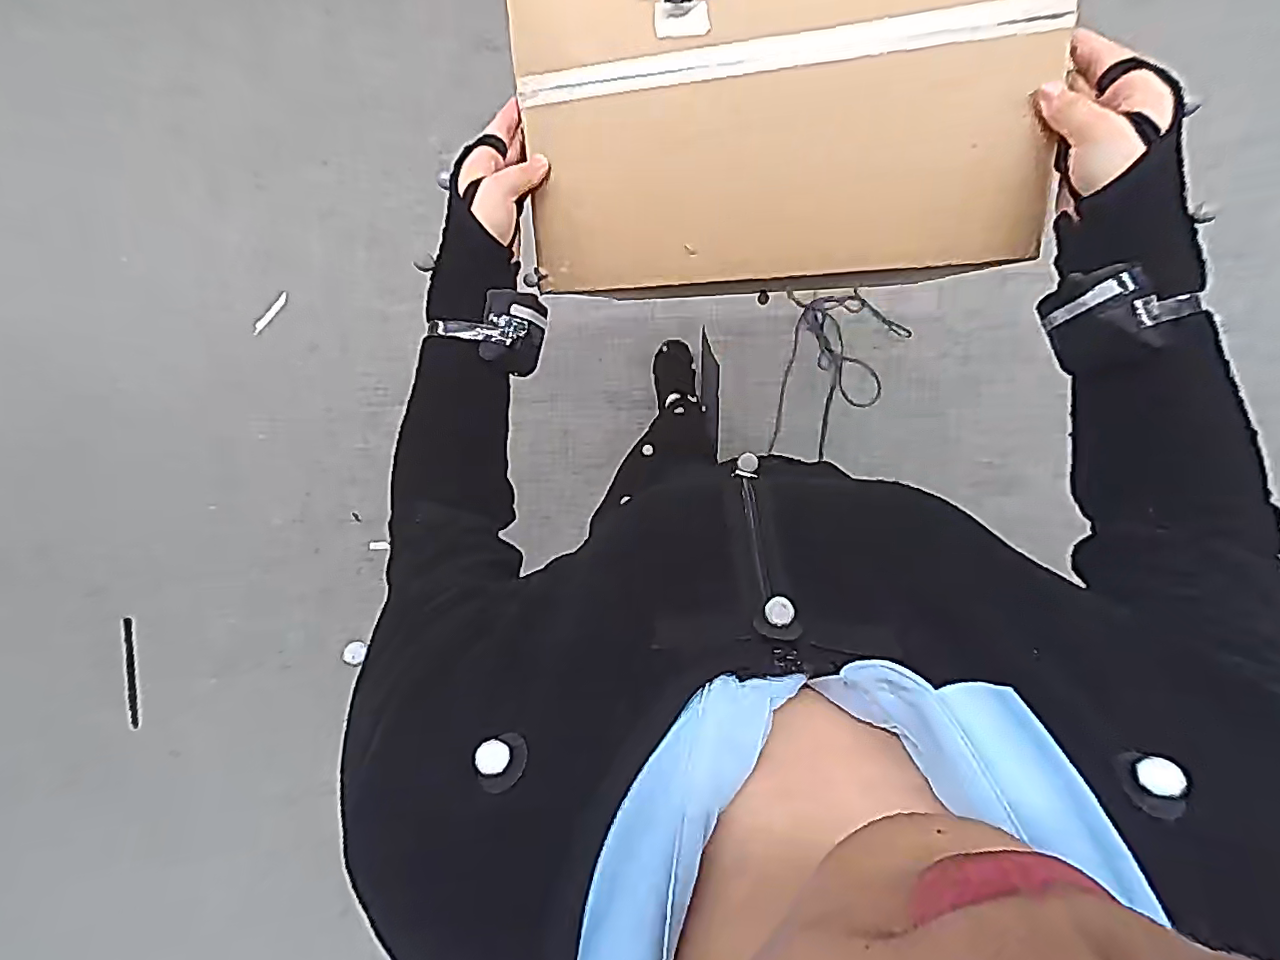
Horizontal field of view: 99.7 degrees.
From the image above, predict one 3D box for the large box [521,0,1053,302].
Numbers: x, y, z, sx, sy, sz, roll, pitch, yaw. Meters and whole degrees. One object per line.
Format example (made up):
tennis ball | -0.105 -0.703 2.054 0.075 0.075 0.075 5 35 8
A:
large box | 0.131 -0.366 0.567 0.408 0.320 0.320 -1 105 12
